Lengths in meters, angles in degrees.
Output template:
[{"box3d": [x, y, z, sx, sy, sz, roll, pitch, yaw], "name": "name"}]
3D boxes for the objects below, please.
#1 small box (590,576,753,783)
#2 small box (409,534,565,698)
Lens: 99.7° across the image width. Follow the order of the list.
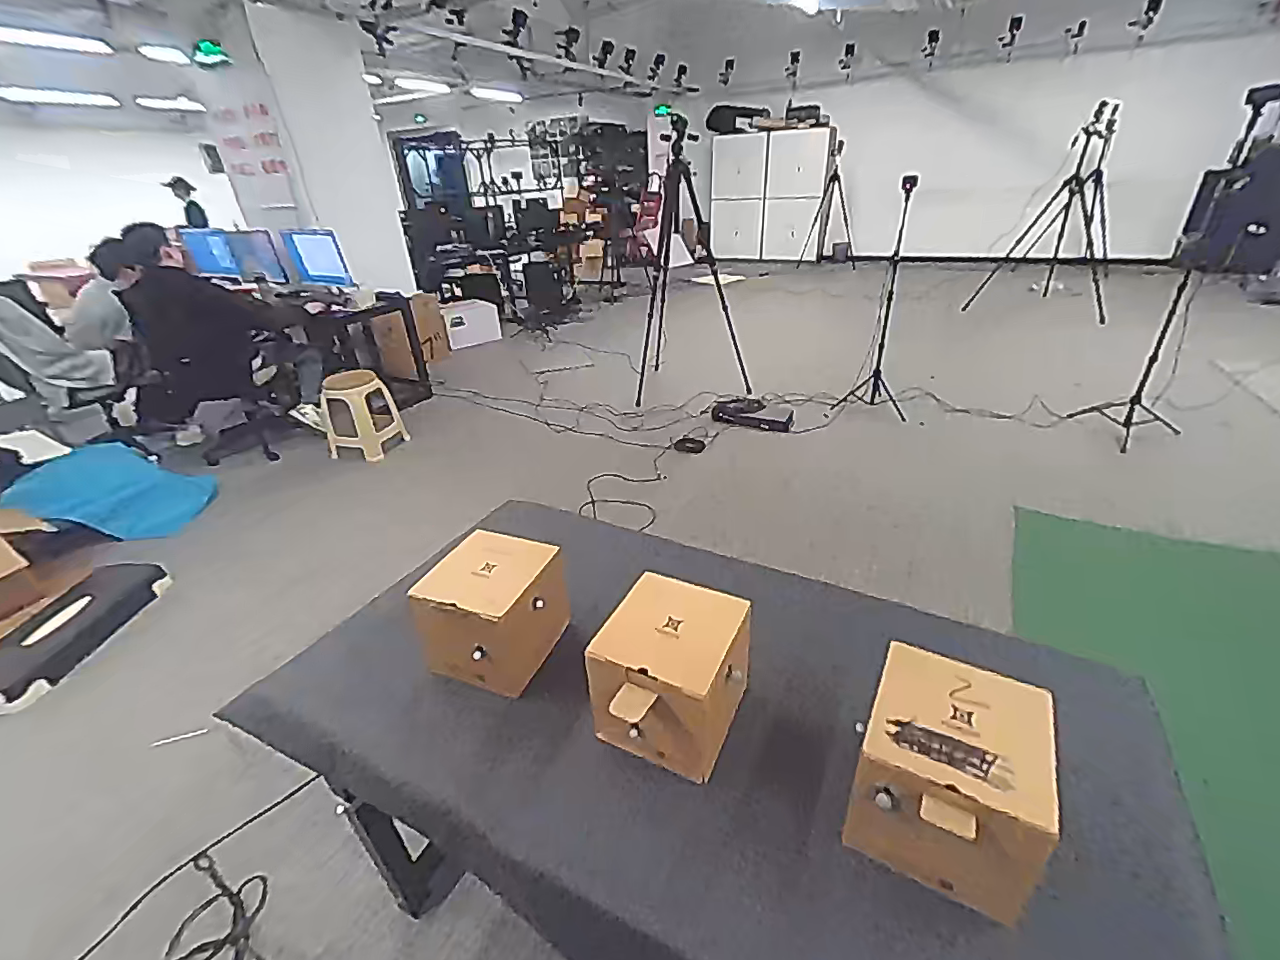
[{"box3d": [0.047, 0.267, 0.748, 0.168, 0.176, 0.179, 12, 33, 25], "name": "small box"}, {"box3d": [-0.231, 0.215, 0.870, 0.168, 0.176, 0.179, 9, 30, 19], "name": "small box"}]
